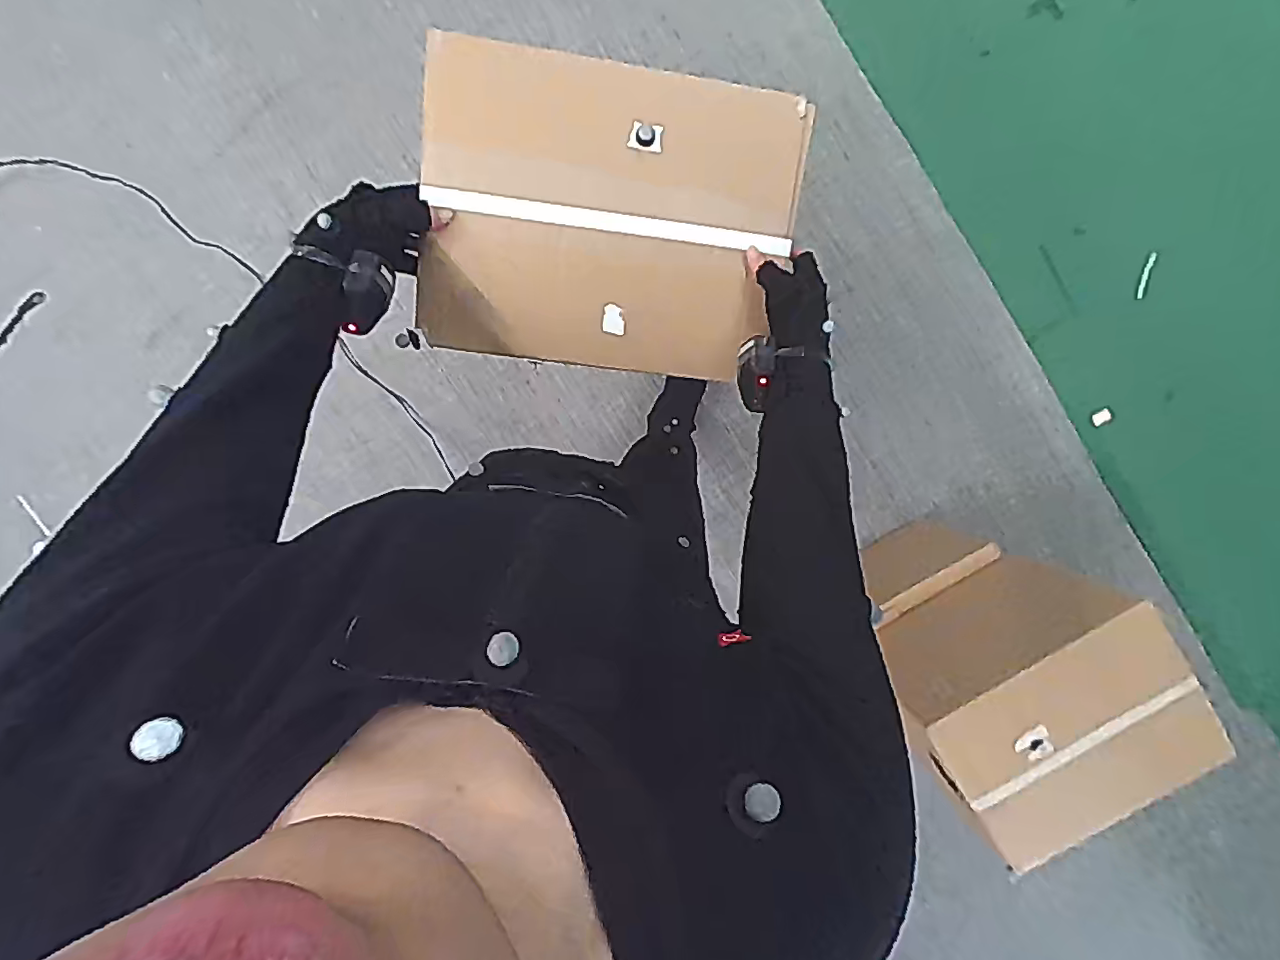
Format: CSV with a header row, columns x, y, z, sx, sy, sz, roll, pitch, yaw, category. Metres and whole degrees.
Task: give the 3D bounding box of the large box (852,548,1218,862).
x,y,z,sx,sy,sz,roll,pitch,yaw,category
0.699,0.391,1.023,0.408,0.320,0.320,-32,96,4,large box
